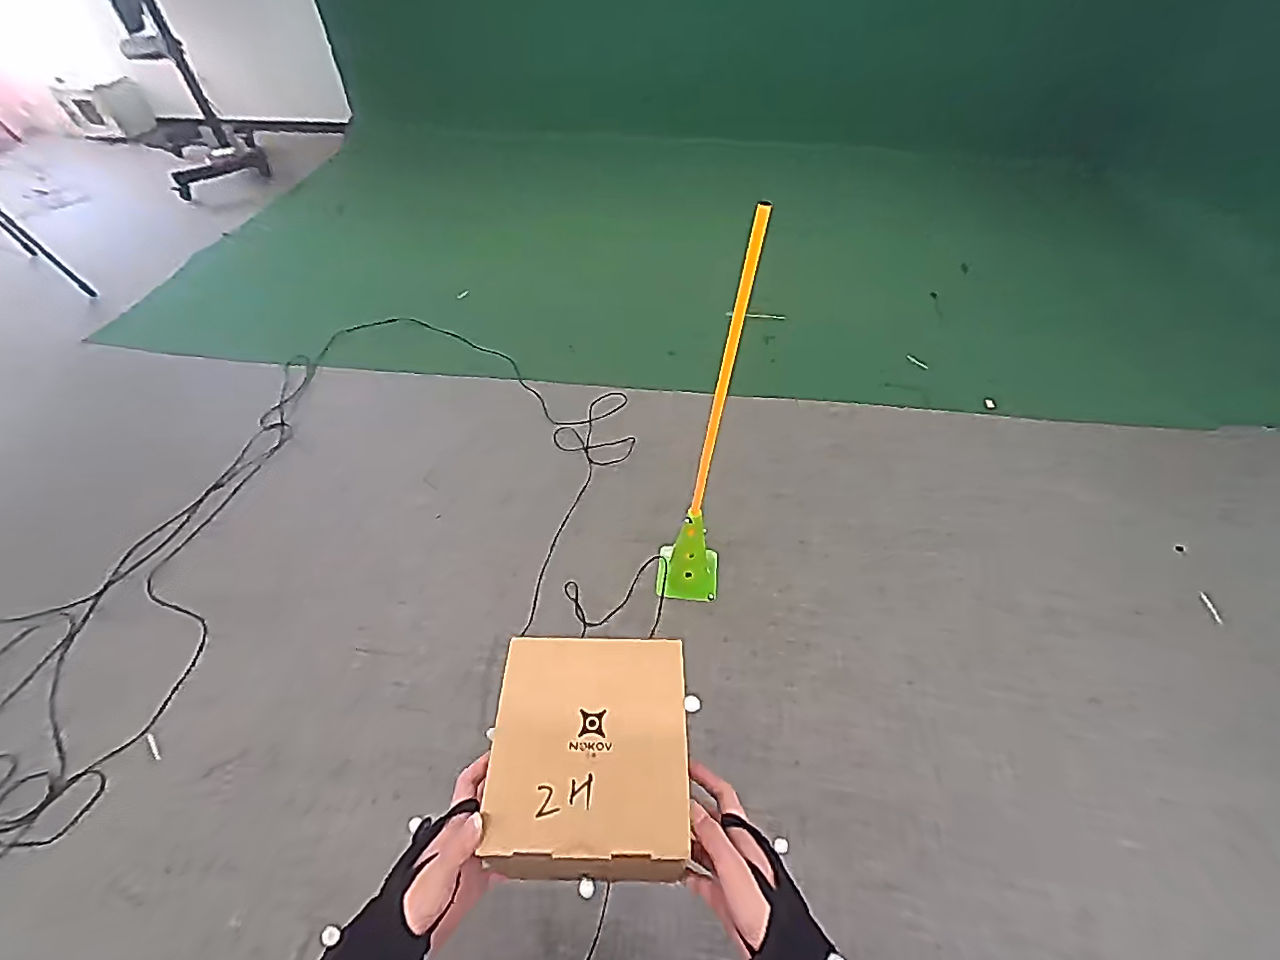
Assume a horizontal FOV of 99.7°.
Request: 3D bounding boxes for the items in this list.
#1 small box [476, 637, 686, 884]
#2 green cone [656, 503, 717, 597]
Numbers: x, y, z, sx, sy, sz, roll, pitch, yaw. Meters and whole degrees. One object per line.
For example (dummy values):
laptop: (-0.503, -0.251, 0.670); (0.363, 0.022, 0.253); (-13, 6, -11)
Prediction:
small box: (-0.045, 0.275, 0.528); (0.168, 0.176, 0.179); (2, 49, 0)
green cone: (0.158, 0.194, 1.723); (0.202, 0.368, 0.200); (5, 50, 5)
